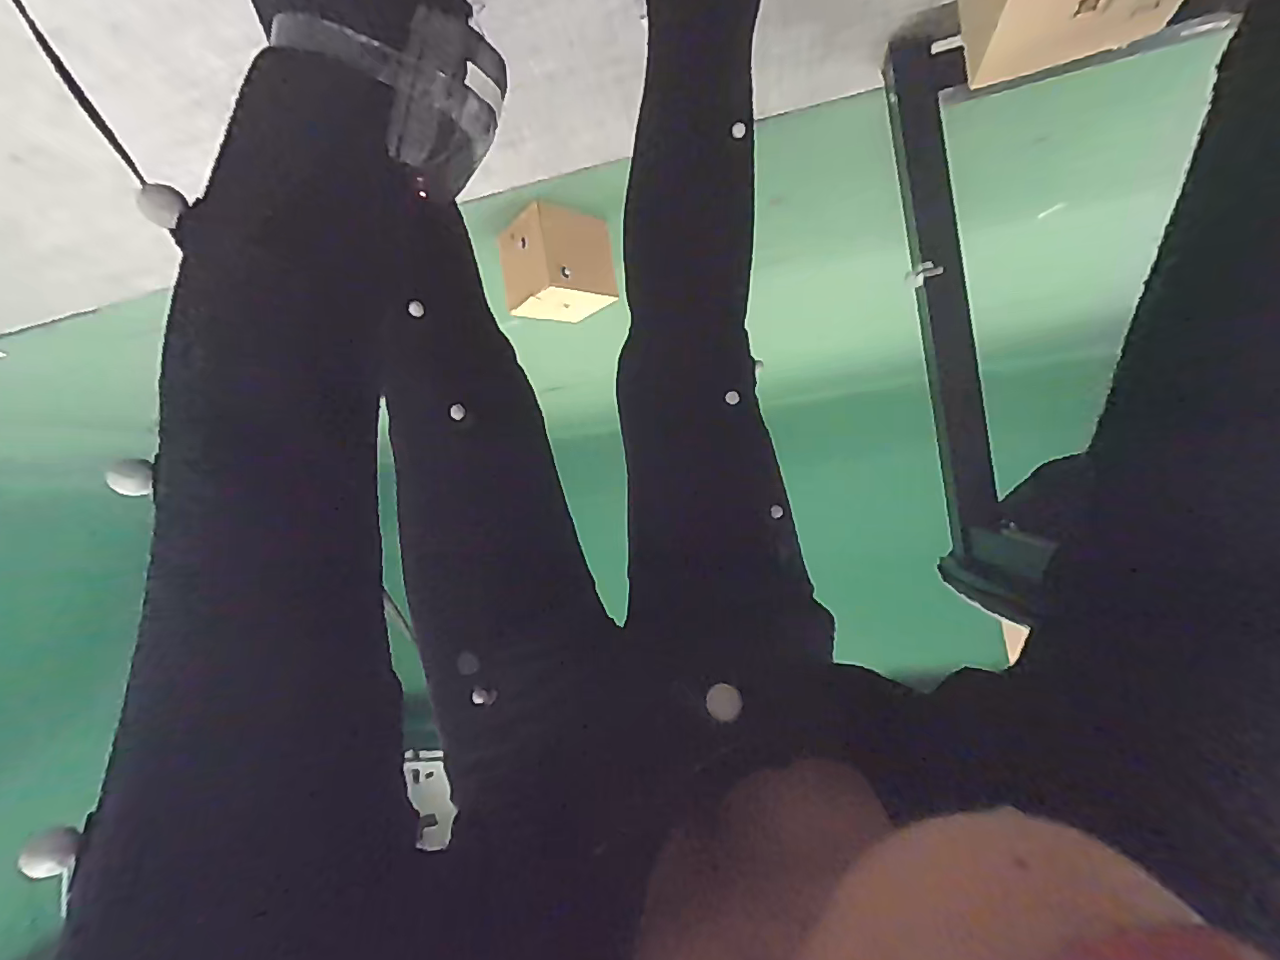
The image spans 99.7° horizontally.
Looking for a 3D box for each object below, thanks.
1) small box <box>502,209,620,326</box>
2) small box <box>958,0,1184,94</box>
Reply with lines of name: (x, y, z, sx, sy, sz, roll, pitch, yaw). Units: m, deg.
small box: (-0.166, -0.434, 1.122, 0.179, 0.176, 0.168, -6, 178, -41)
small box: (0.412, -0.522, 0.505, 0.179, 0.176, 0.168, -8, 180, 18)
